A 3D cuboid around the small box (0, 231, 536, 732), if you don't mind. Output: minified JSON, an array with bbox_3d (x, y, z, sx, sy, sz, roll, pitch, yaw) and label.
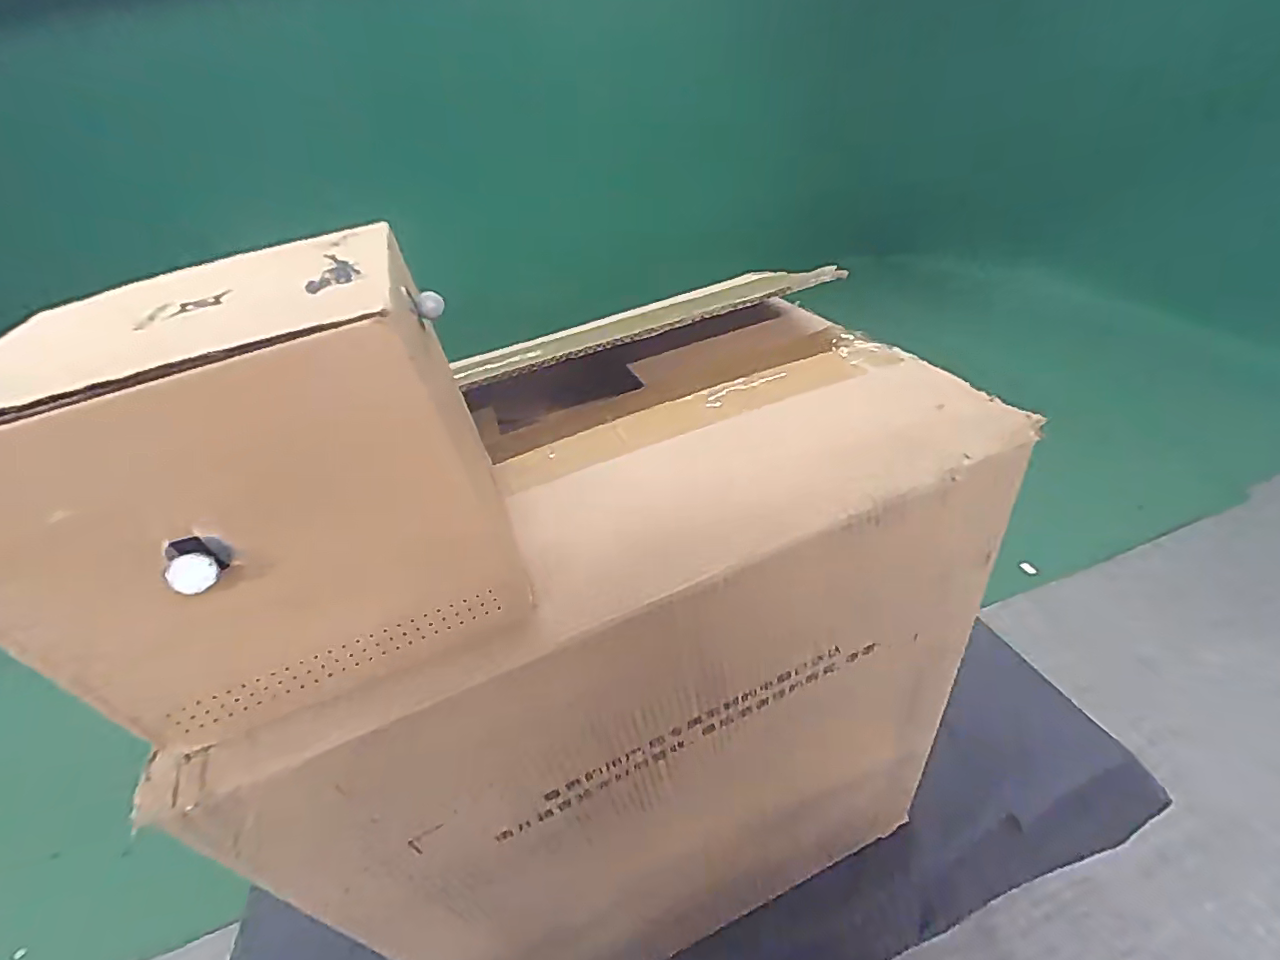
[{"bbox_3d":[-0.176,-0.005,0.284,0.179,0.176,0.168,-23,40,-10],"label":"small box"}]
